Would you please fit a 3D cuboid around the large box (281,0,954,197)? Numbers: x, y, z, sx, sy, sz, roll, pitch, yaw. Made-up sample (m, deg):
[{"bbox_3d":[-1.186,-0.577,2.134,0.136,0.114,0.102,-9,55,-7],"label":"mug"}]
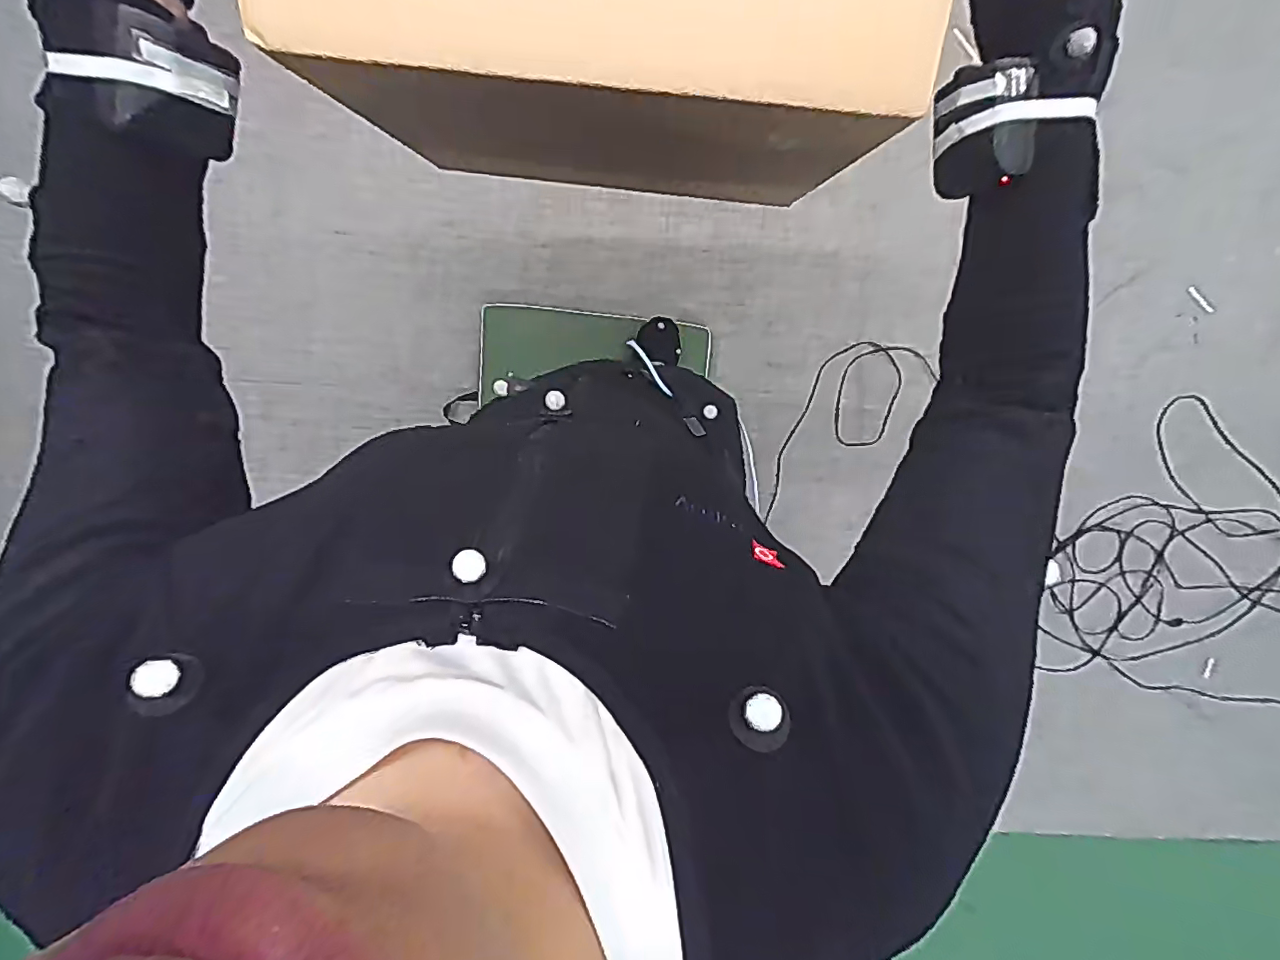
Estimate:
[{"bbox_3d":[-0.007,-0.436,0.426,0.408,0.320,0.320,4,108,-3],"label":"large box"}]
